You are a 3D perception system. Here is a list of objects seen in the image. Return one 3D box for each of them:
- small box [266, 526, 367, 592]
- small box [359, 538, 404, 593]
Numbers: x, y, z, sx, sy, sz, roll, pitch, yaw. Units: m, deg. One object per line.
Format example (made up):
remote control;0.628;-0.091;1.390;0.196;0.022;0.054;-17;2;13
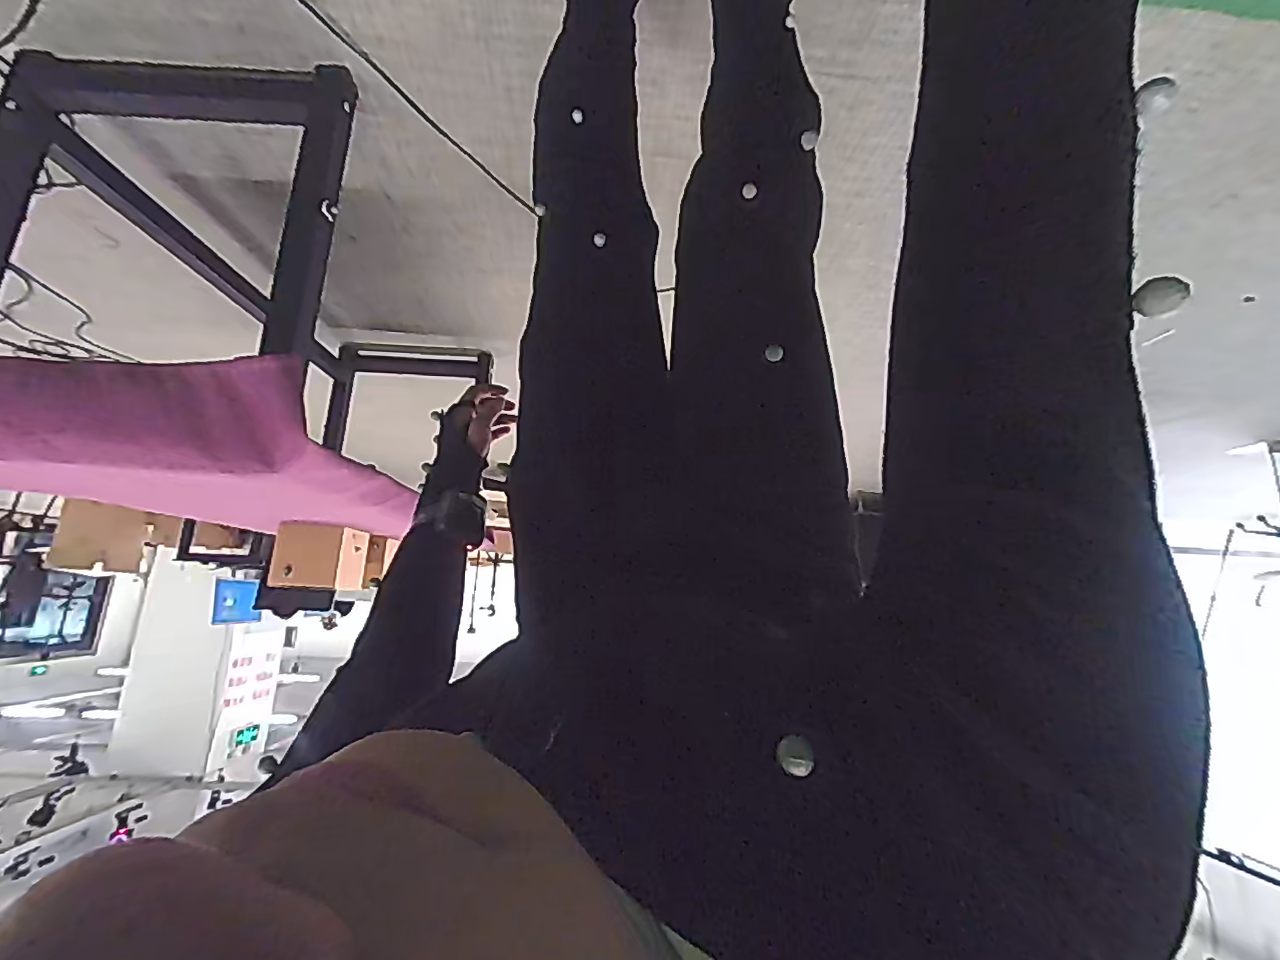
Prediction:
small box;-0.886;0.220;1.497;0.179;0.176;0.168;3;168;-4
small box;-0.880;0.277;1.746;0.168;0.176;0.179;3;168;-3
